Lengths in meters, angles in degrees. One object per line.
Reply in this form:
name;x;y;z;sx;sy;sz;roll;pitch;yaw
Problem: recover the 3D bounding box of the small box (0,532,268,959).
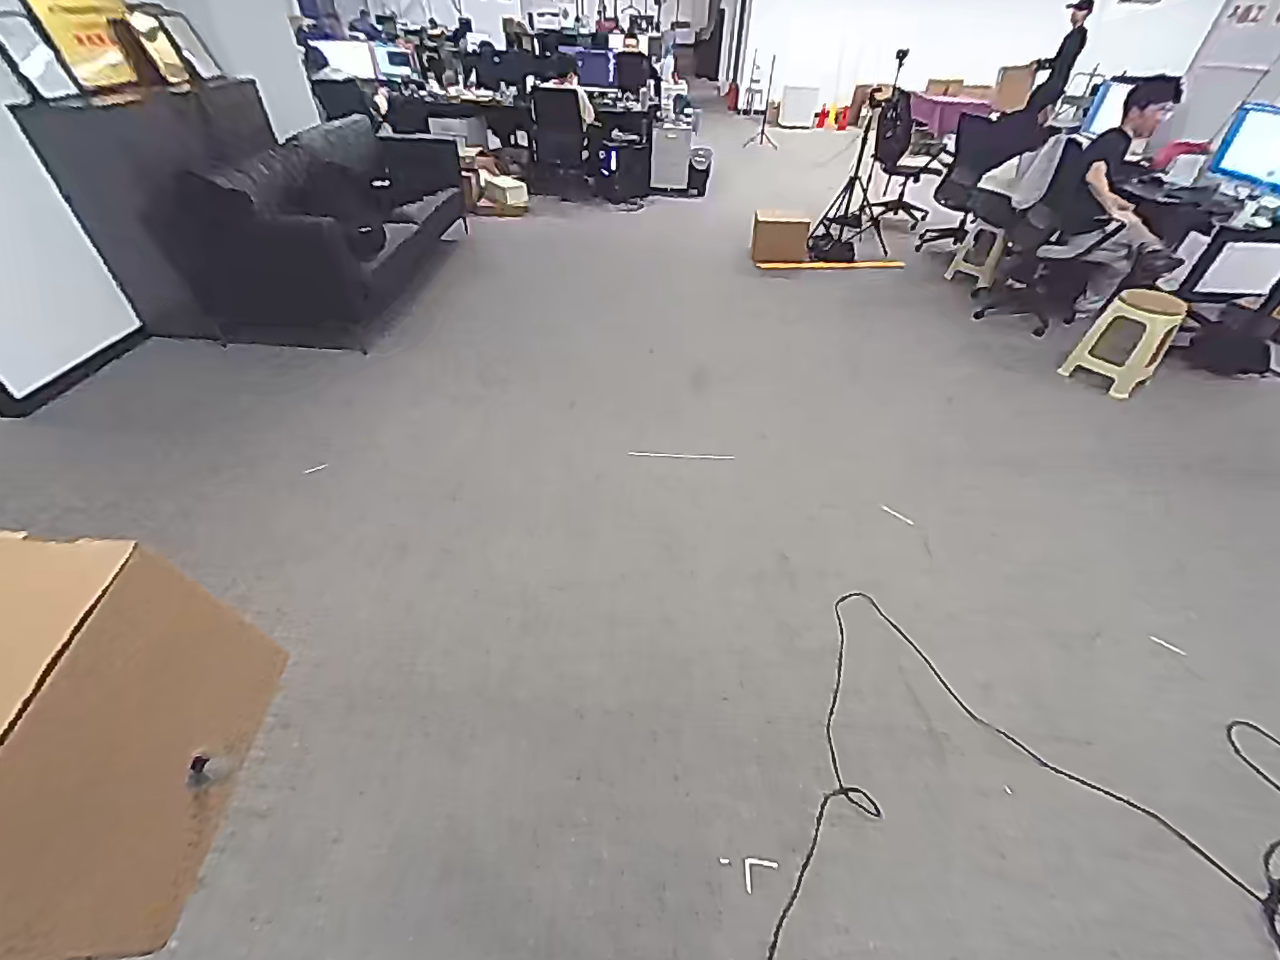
small box;-0.343;0.144;0.288;0.168;0.176;0.179;2;52;-1
